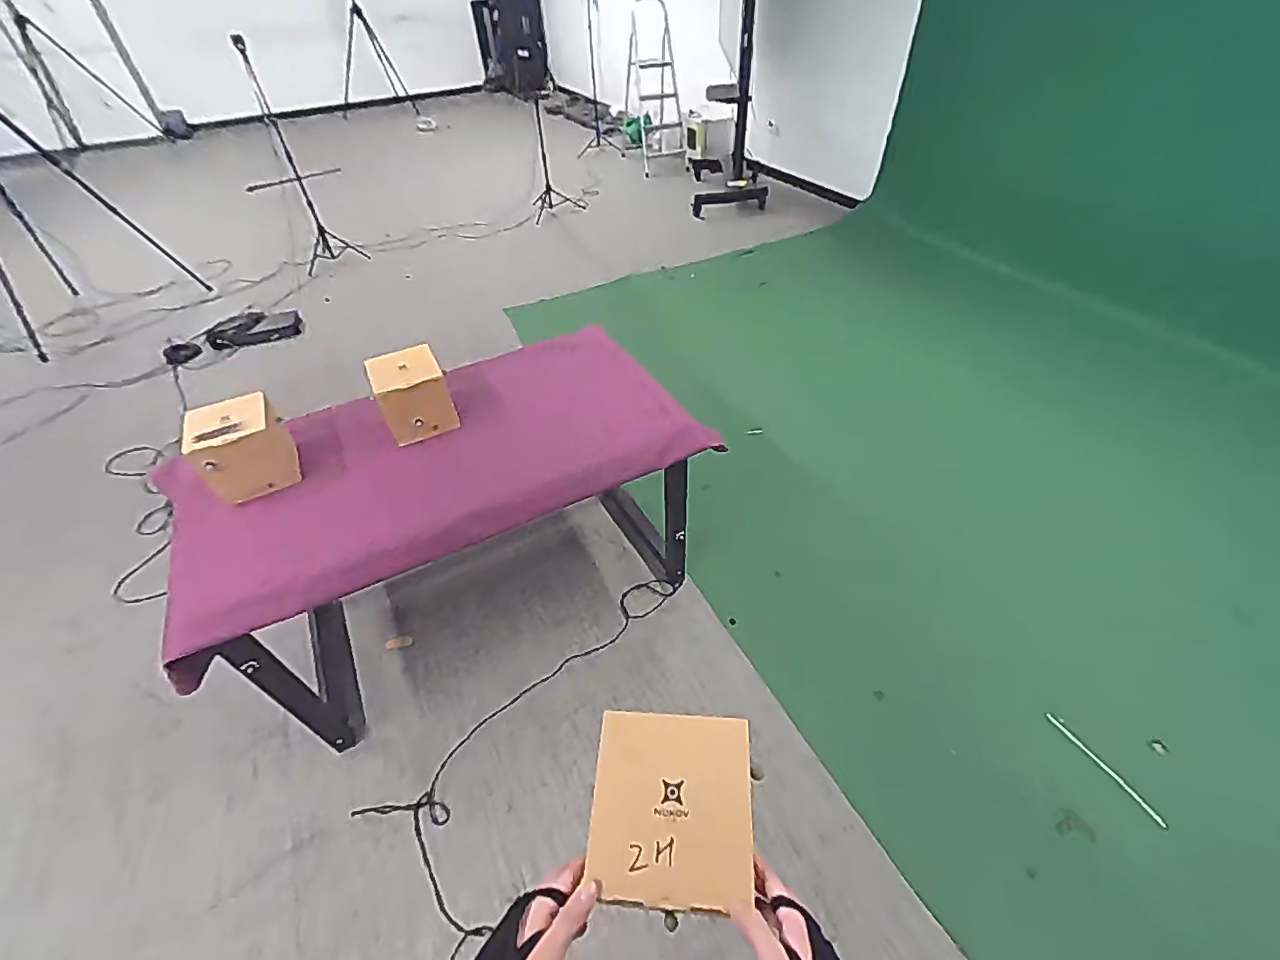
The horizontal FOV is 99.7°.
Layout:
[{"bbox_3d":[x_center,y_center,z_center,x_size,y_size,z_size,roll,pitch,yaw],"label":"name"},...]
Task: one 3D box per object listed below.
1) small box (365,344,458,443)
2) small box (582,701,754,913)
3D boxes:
[{"bbox_3d":[-0.594,-0.226,1.412,0.168,0.176,0.179,-22,49,-19],"label":"small box"},{"bbox_3d":[0.039,0.375,0.621,0.168,0.176,0.179,1,50,7],"label":"small box"}]
